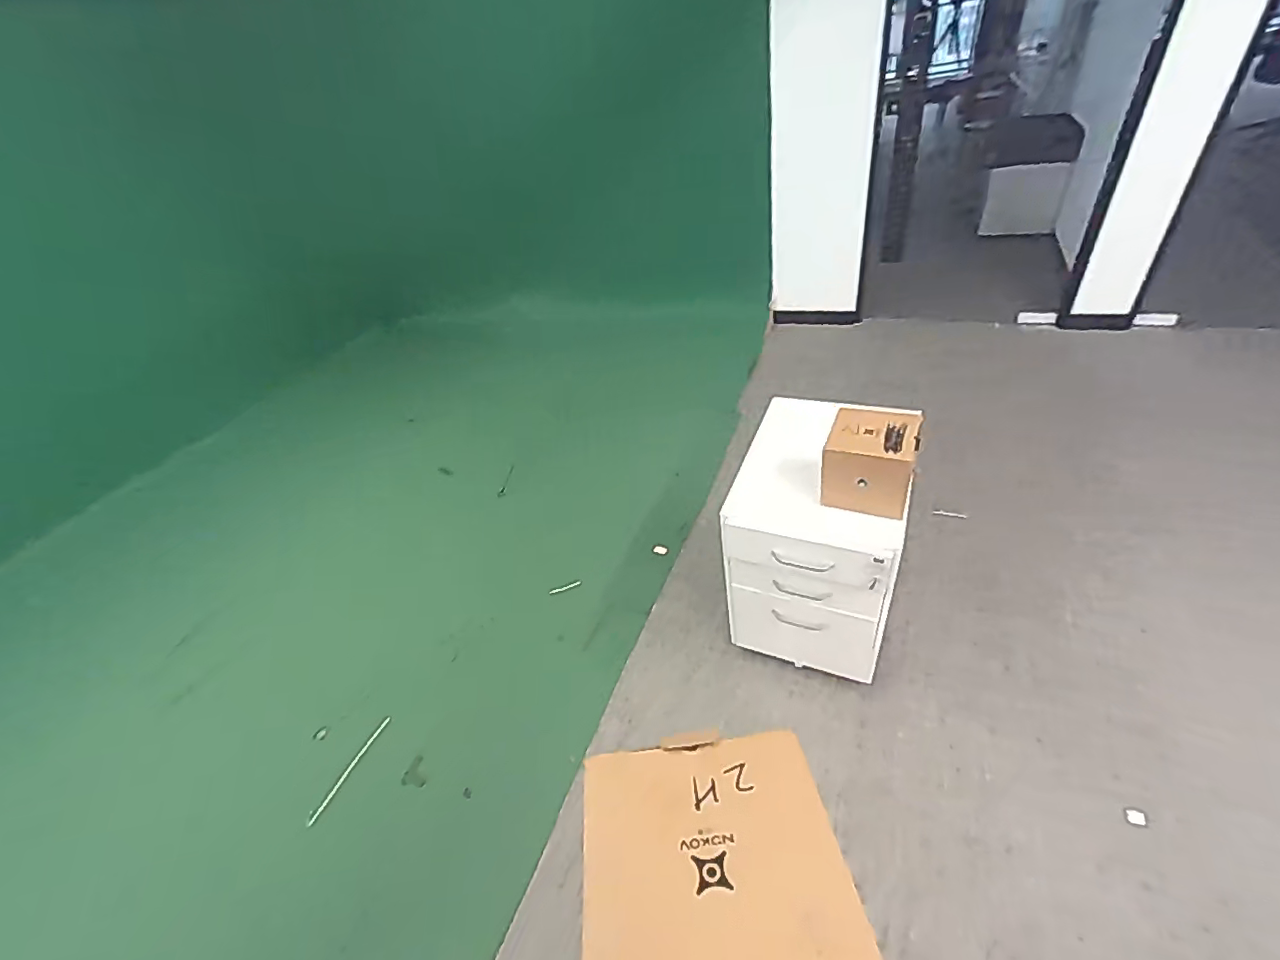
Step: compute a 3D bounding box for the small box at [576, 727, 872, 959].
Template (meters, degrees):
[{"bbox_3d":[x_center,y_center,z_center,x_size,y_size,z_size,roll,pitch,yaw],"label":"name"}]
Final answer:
[{"bbox_3d":[0.049,0.312,0.383,0.168,0.176,0.179,-5,25,-2],"label":"small box"}]
